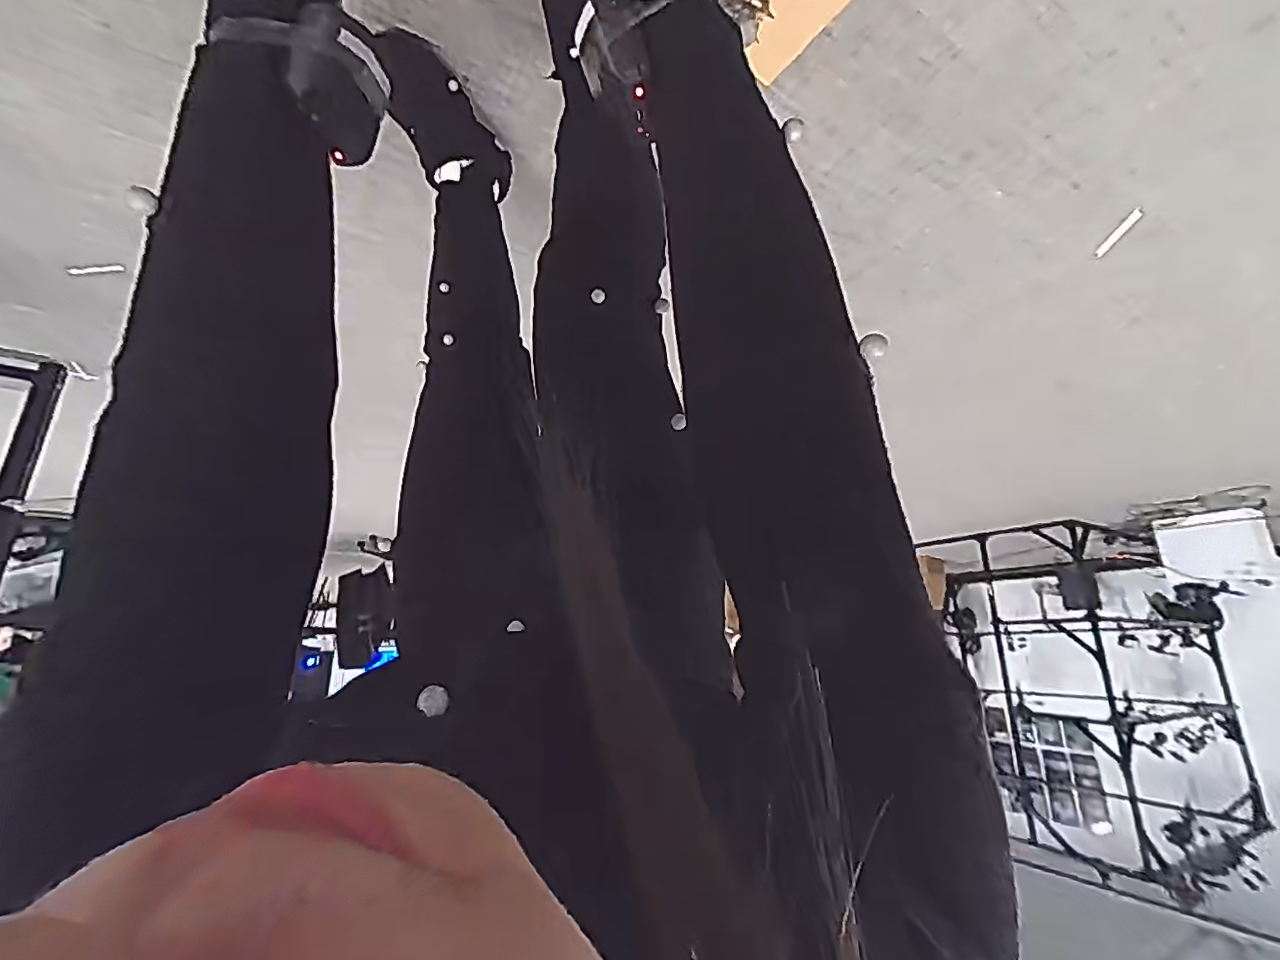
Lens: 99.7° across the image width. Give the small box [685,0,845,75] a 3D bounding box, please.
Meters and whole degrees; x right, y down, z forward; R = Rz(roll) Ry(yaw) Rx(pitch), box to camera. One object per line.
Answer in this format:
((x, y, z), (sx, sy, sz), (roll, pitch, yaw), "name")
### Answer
((0.137, -0.582, 0.542), (0.168, 0.176, 0.179), (12, 159, -35), "small box")
